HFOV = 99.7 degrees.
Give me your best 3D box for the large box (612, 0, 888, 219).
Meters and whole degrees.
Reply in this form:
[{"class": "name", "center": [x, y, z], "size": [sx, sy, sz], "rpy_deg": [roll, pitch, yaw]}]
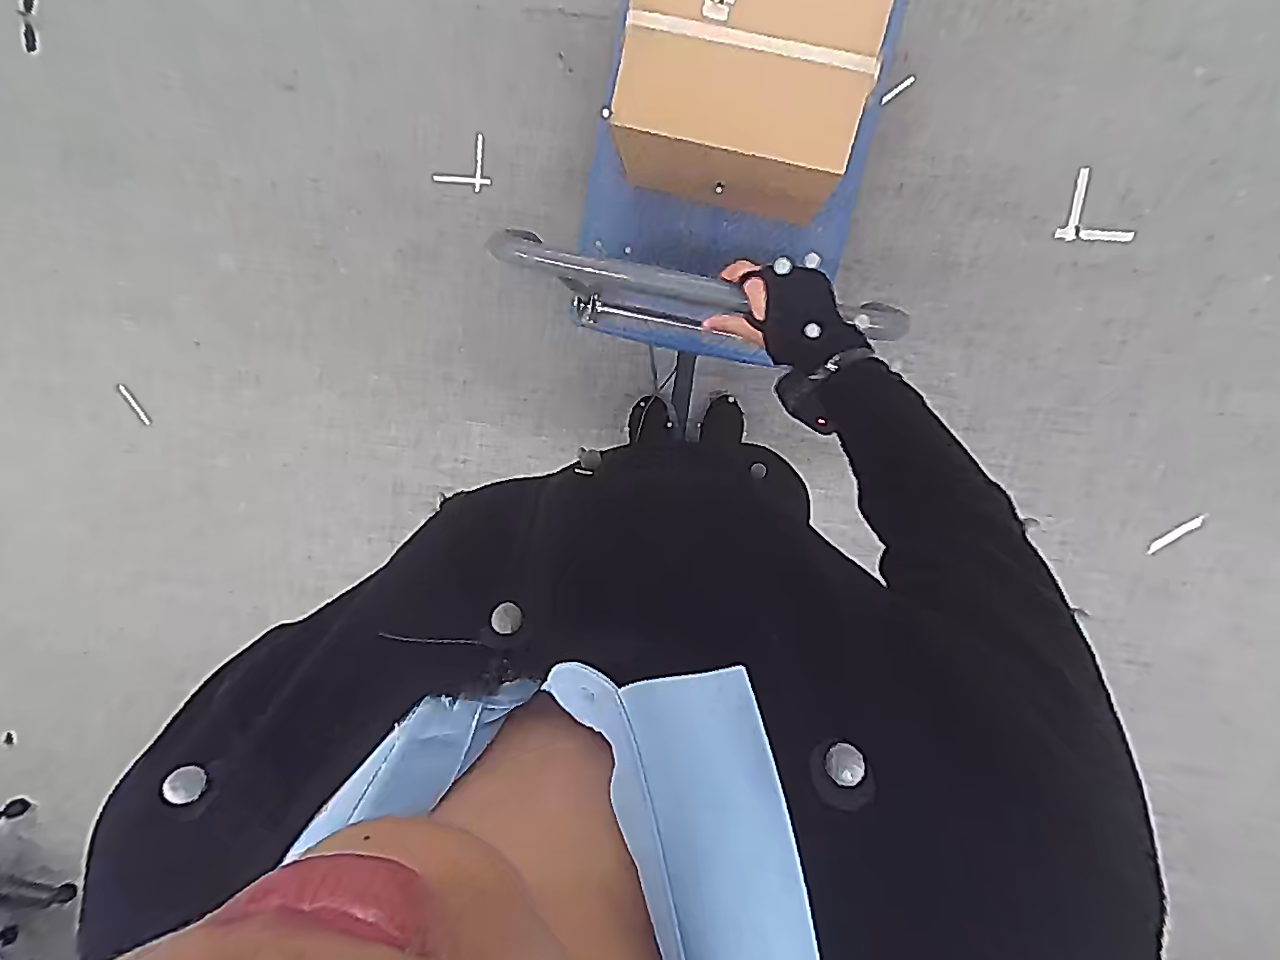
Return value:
[{"class": "large box", "center": [0.194, -0.731, 1.027], "size": [0.408, 0.320, 0.320], "rpy_deg": [14, 101, 3]}]
